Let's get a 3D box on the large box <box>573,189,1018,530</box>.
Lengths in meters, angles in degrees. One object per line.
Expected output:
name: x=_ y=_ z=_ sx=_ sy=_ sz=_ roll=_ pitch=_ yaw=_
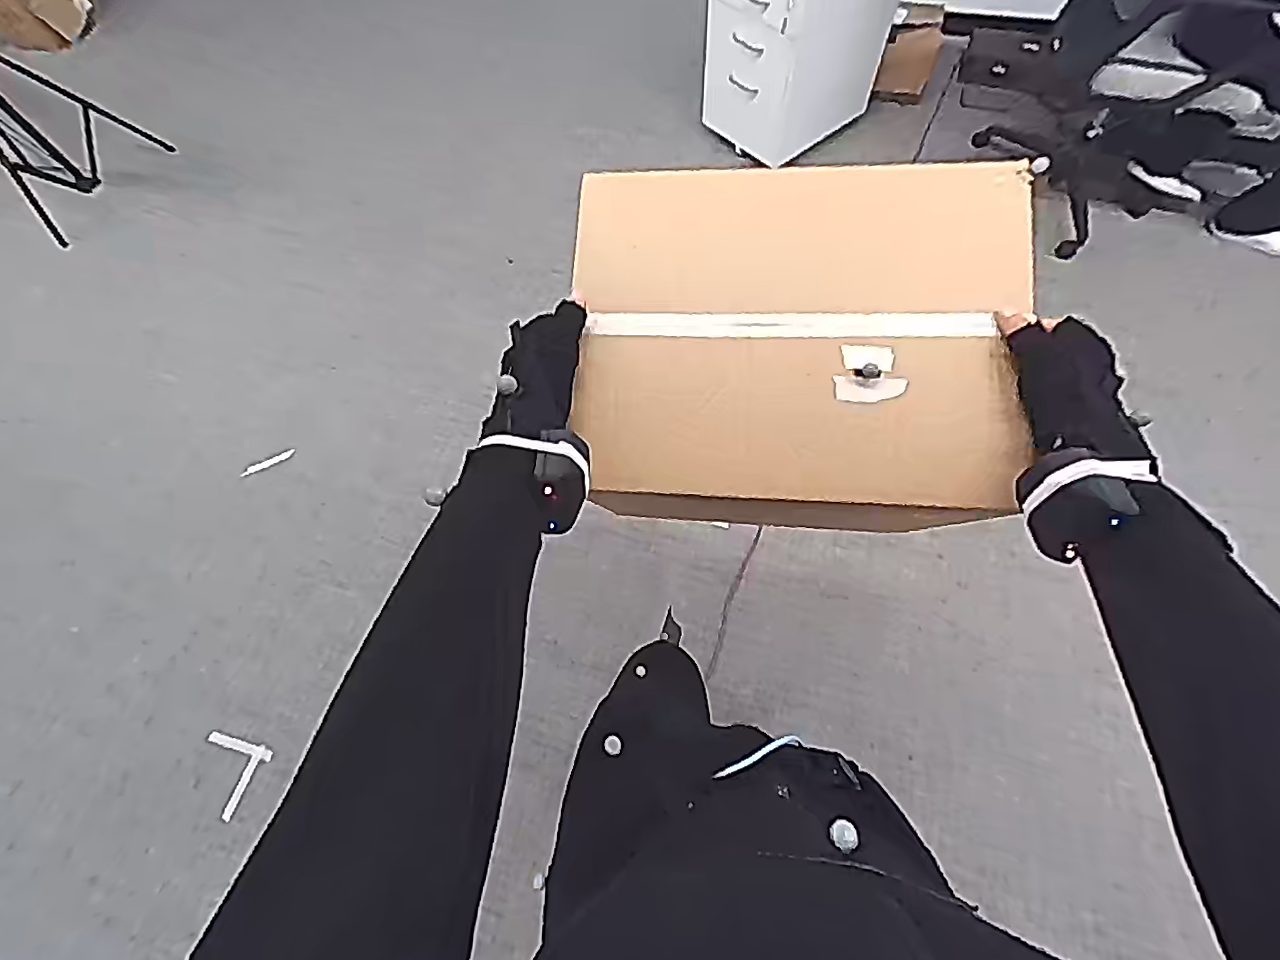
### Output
large box: x=0.152 y=-0.107 z=0.657 sx=0.408 sy=0.320 sz=0.320 roll=2 pitch=83 yaw=7
